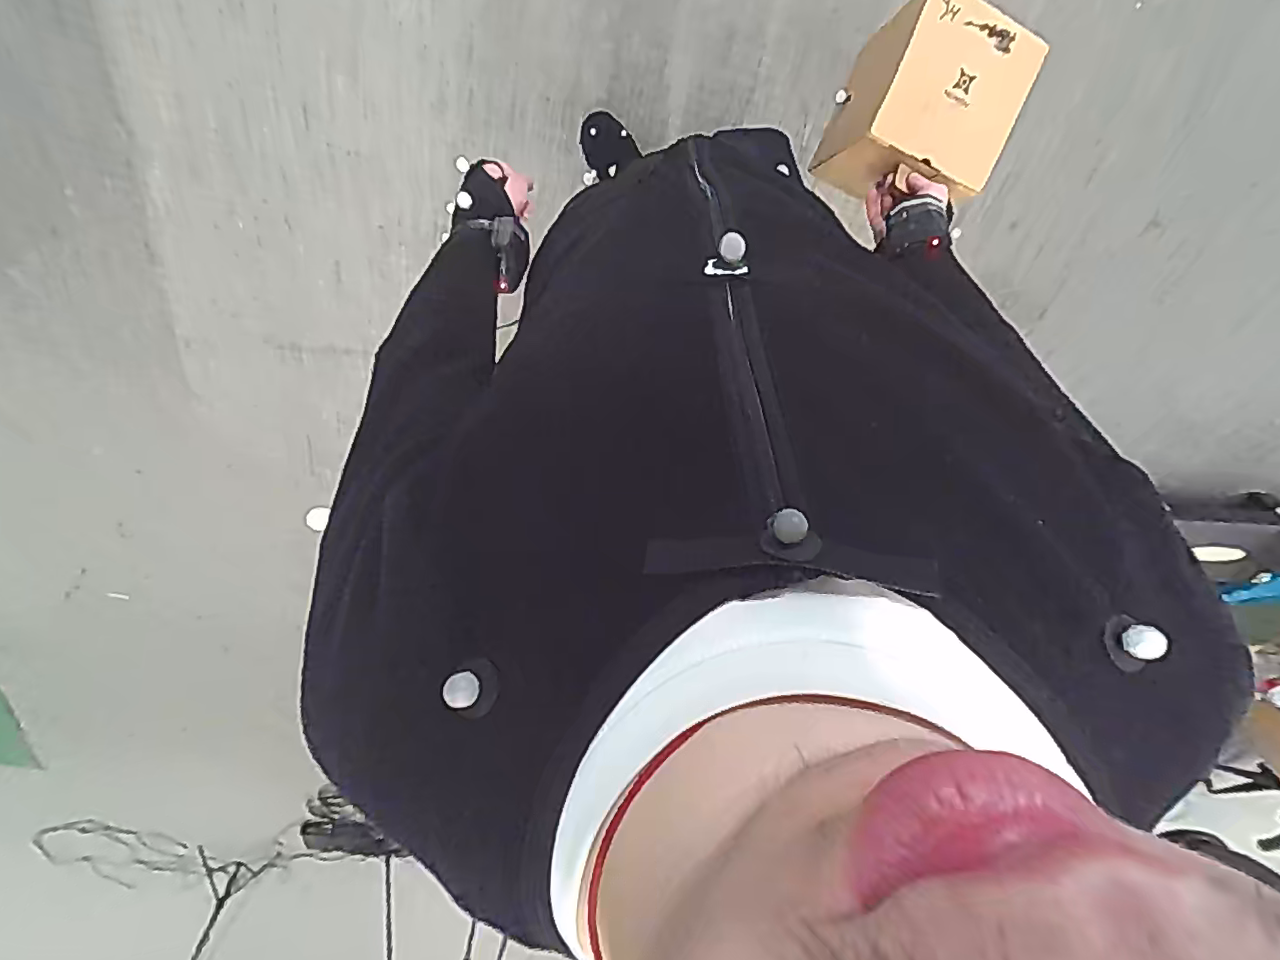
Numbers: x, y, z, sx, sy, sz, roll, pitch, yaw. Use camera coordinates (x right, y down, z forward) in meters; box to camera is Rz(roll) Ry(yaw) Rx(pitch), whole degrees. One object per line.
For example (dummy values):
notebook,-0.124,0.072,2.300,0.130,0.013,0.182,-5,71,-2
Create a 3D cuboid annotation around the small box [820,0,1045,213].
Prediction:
small box,0.362,-0.479,0.710,0.168,0.176,0.179,17,102,-11
